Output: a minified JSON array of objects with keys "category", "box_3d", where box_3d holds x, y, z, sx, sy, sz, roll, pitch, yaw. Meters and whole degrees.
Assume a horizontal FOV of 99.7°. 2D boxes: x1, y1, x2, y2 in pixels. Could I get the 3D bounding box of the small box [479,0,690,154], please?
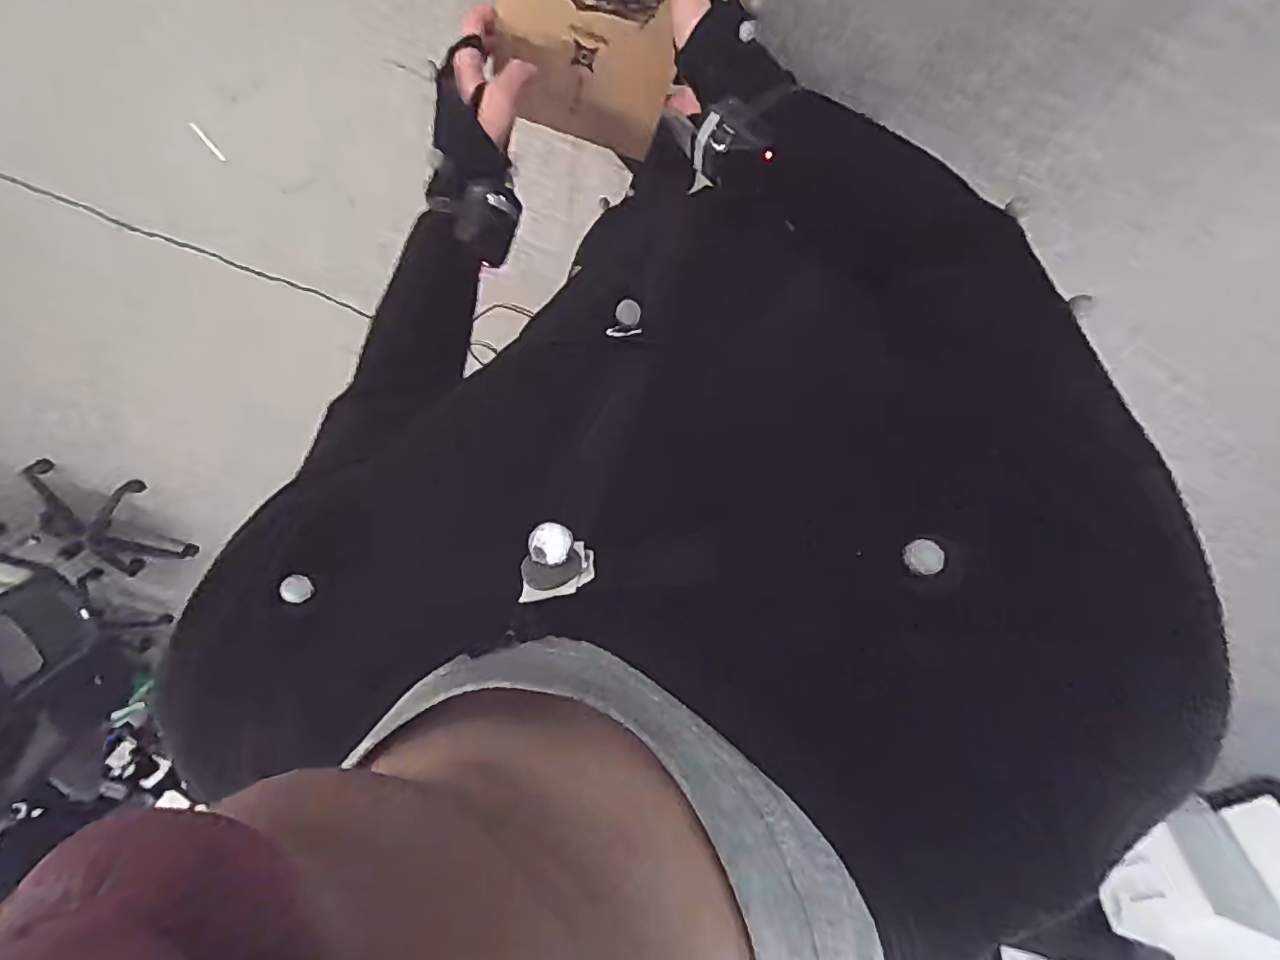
[{"category":"small box","box_3d":[-0.047,-0.464,0.507,0.168,0.176,0.179,13,156,-14]}]
